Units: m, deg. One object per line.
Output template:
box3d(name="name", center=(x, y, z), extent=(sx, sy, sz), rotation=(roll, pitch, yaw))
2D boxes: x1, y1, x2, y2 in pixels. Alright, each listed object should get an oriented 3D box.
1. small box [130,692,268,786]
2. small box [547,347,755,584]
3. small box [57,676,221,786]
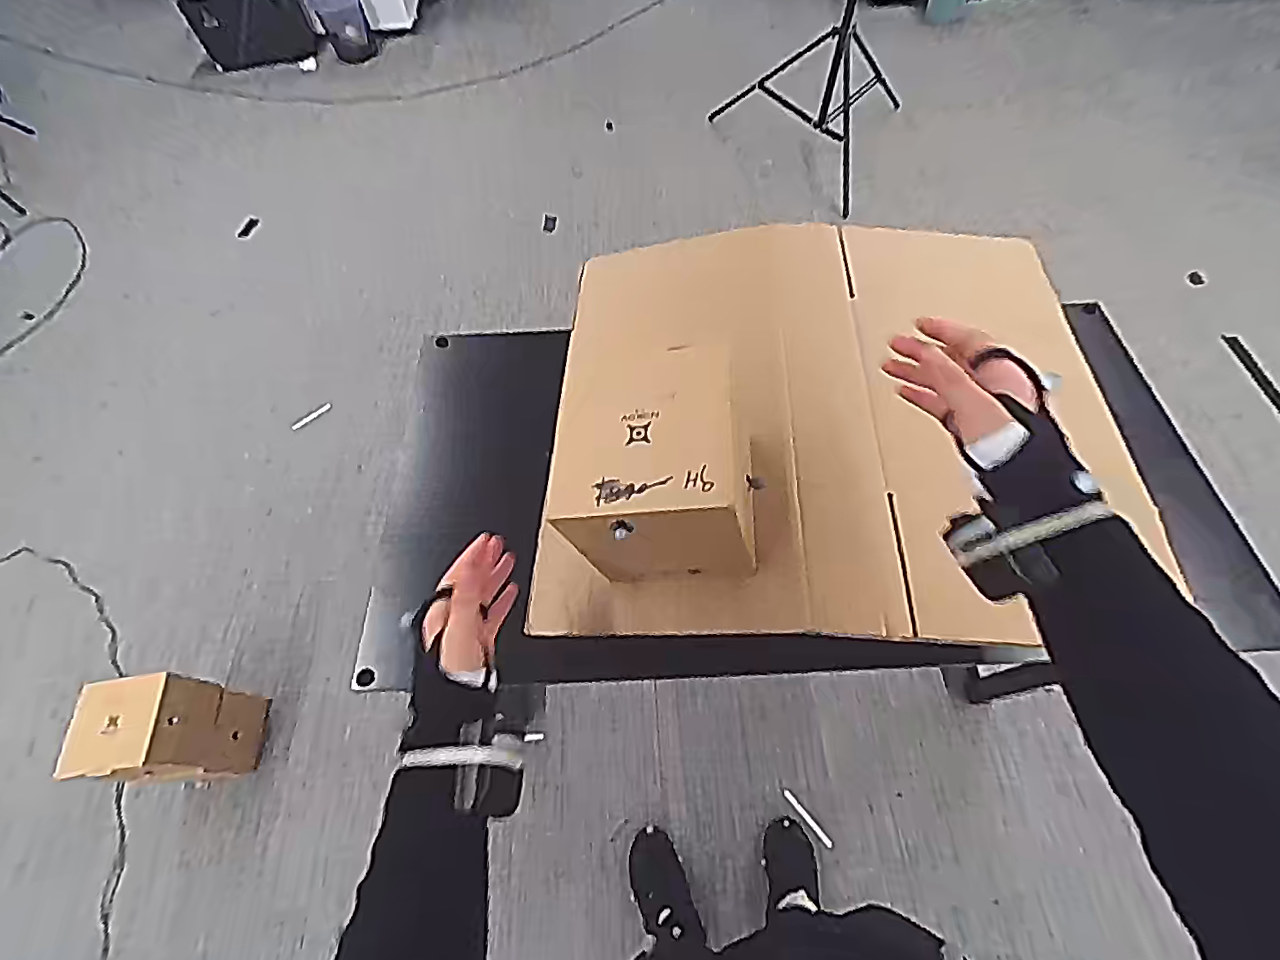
box3d(name="small box", center=(-1.013, 0.608, 1.262), extent=(0.168, 0.176, 0.179), rotation=(-6, 61, -1))
box3d(name="small box", center=(0.024, -0.006, 0.553), extent=(0.168, 0.176, 0.179), rotation=(-6, 59, 16))
box3d(name="small box", center=(-1.021, 0.524, 1.123), extent=(0.168, 0.176, 0.179), rotation=(-9, 60, -3))
